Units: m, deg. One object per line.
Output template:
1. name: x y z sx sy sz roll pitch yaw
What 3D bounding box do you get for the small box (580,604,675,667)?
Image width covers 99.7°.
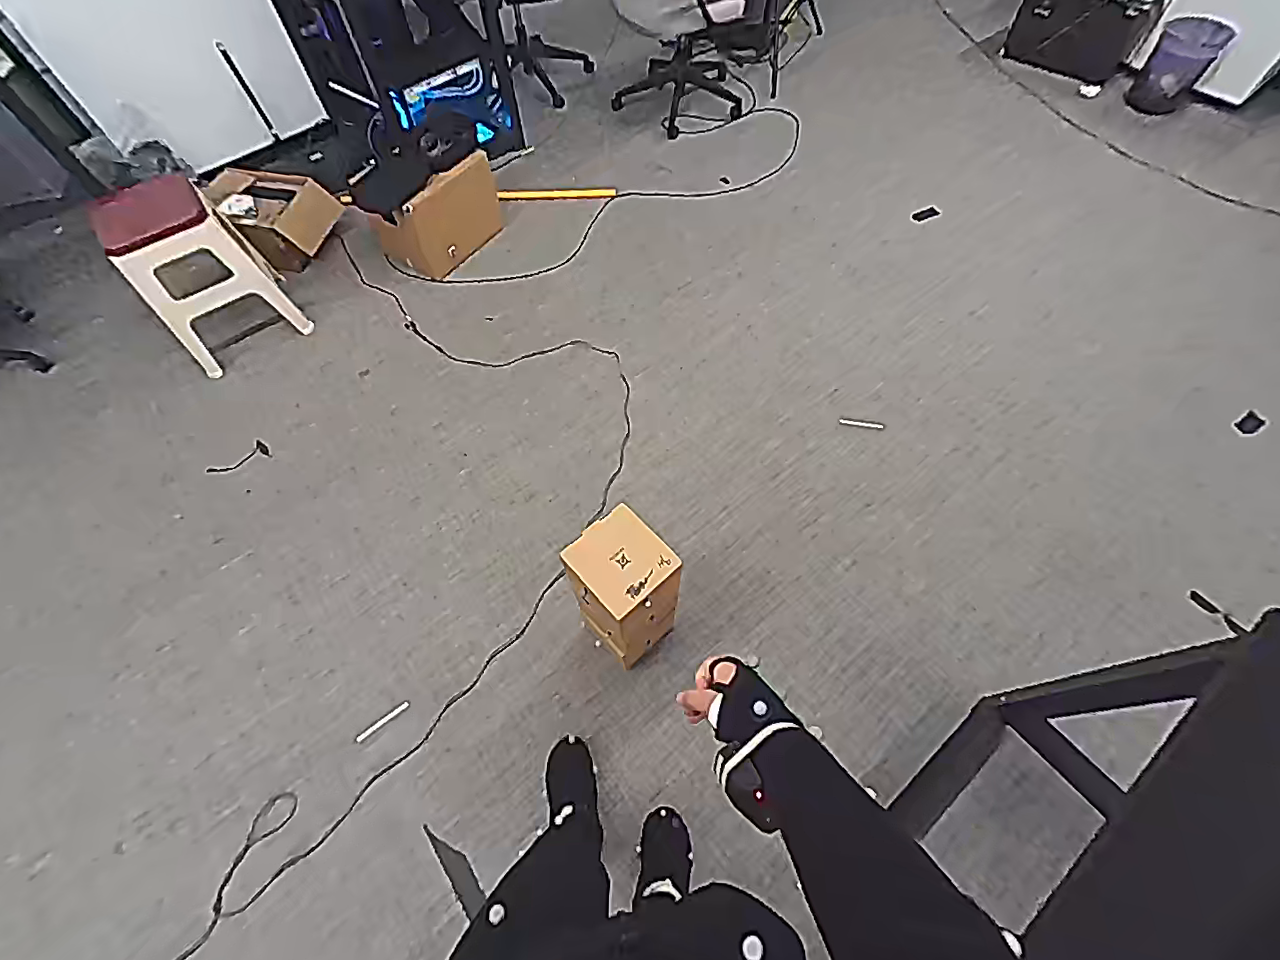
1. small box: -0.031 0.348 1.379 0.179 0.176 0.168 -39 67 -17

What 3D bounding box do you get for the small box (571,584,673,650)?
1. small box: -0.032 0.263 1.240 0.168 0.176 0.179 40 68 19

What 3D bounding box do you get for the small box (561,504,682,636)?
1. small box: -0.035 0.188 1.095 0.168 0.176 0.179 -39 67 -18
